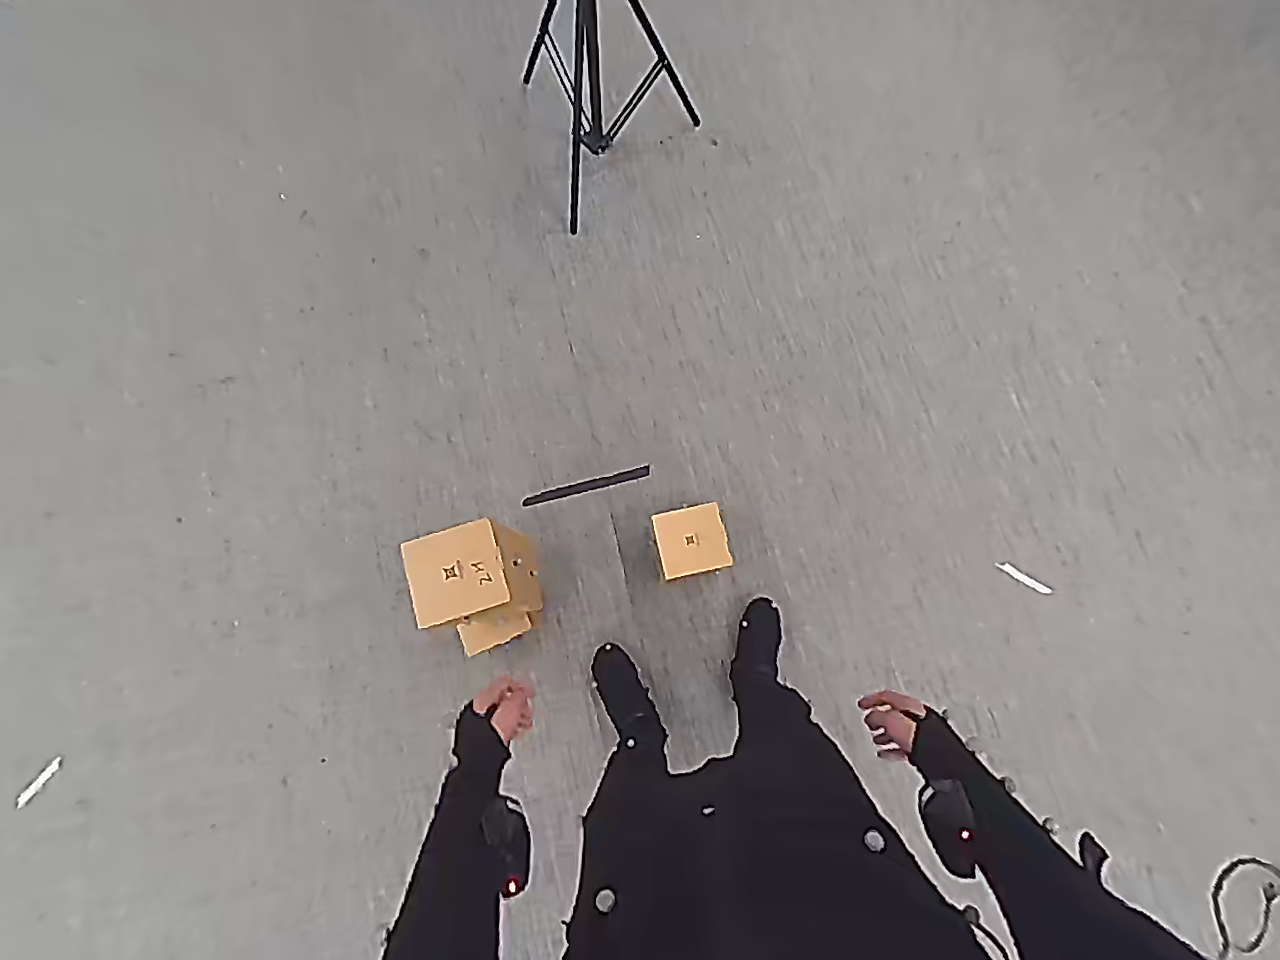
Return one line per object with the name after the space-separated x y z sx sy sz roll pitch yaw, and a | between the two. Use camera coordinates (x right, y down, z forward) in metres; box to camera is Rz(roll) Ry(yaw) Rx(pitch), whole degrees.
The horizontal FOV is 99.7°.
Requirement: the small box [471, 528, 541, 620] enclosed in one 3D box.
-0.326 0.219 1.227 0.168 0.176 0.179 -10 77 -2 | small box

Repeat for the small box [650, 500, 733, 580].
0.126 0.163 1.418 0.179 0.176 0.168 -12 78 -5 | small box

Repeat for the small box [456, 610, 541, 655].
-0.367 0.323 1.370 0.168 0.176 0.179 -24 79 -6 | small box

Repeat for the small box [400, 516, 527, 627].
-0.339 0.185 1.067 0.179 0.176 0.168 -17 77 -4 | small box
